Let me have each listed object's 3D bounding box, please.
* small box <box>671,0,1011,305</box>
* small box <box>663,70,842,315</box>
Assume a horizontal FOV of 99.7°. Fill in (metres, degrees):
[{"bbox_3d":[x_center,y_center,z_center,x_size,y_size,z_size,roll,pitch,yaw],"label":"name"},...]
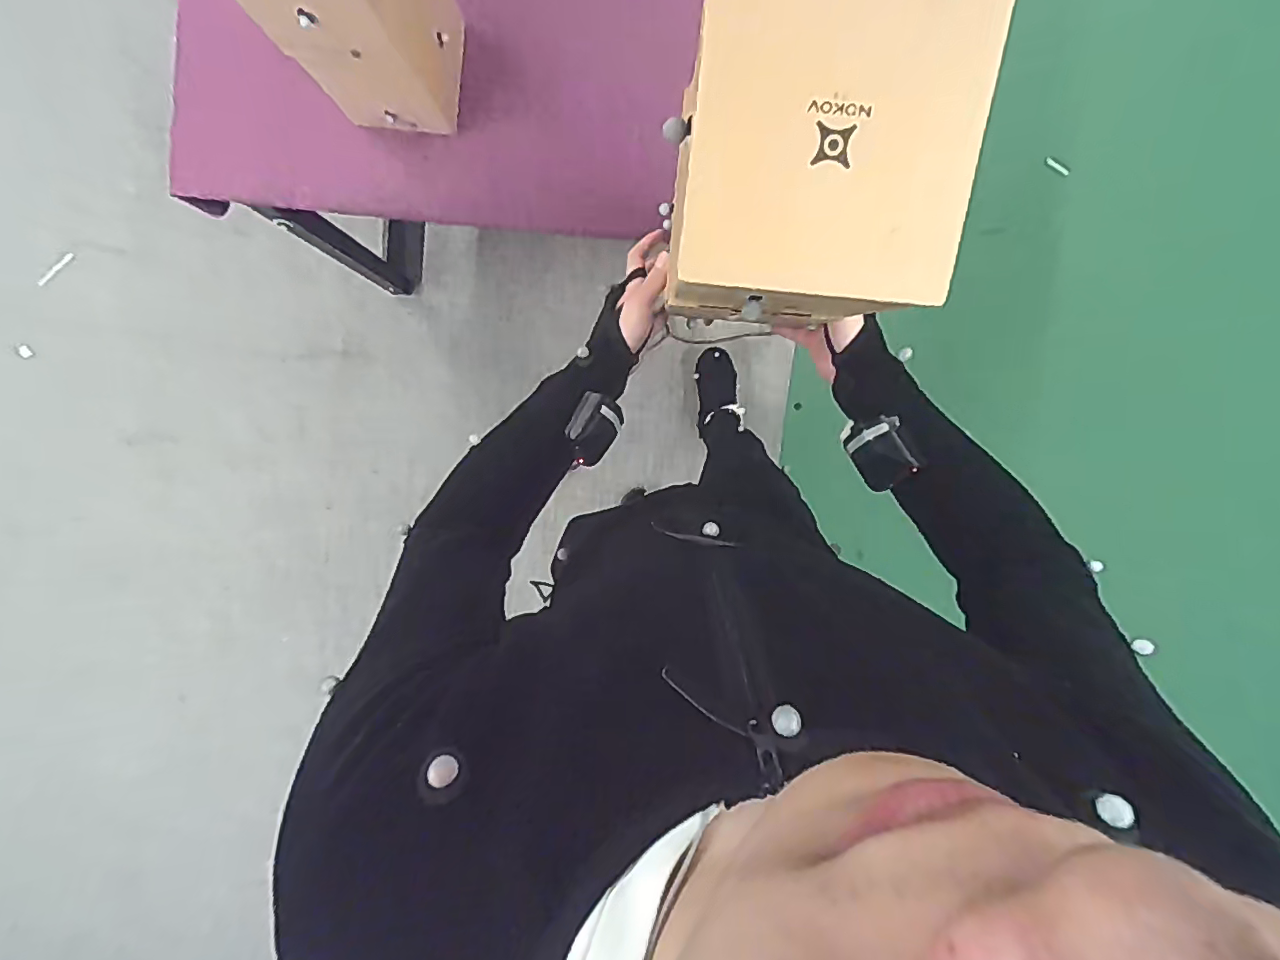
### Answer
[{"bbox_3d":[0.114,-0.224,0.381,0.168,0.176,0.179,6,104,2],"label":"small box"},{"bbox_3d":[0.115,-0.264,0.538,0.168,0.176,0.179,5,103,1],"label":"small box"}]
